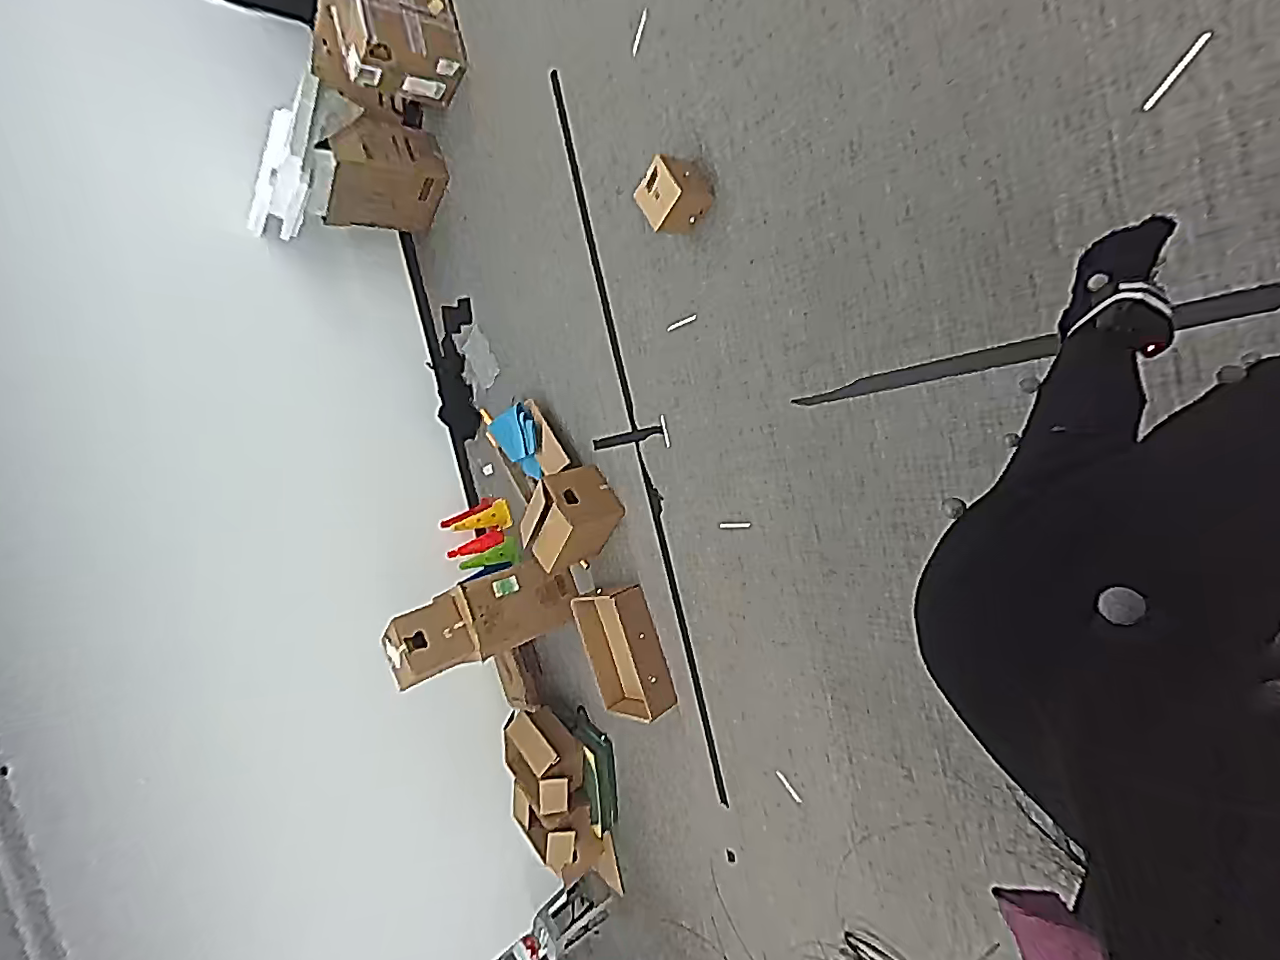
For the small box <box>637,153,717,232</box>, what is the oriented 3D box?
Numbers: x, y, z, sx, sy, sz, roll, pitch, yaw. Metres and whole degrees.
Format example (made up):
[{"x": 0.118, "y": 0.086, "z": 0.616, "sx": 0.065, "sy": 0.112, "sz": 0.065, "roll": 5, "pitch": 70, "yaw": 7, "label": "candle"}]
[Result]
[{"x": 0.128, "y": -0.971, "z": 1.845, "sx": 0.168, "sy": 0.176, "sz": 0.179, "roll": -44, "pitch": 70, "yaw": 49, "label": "small box"}]
